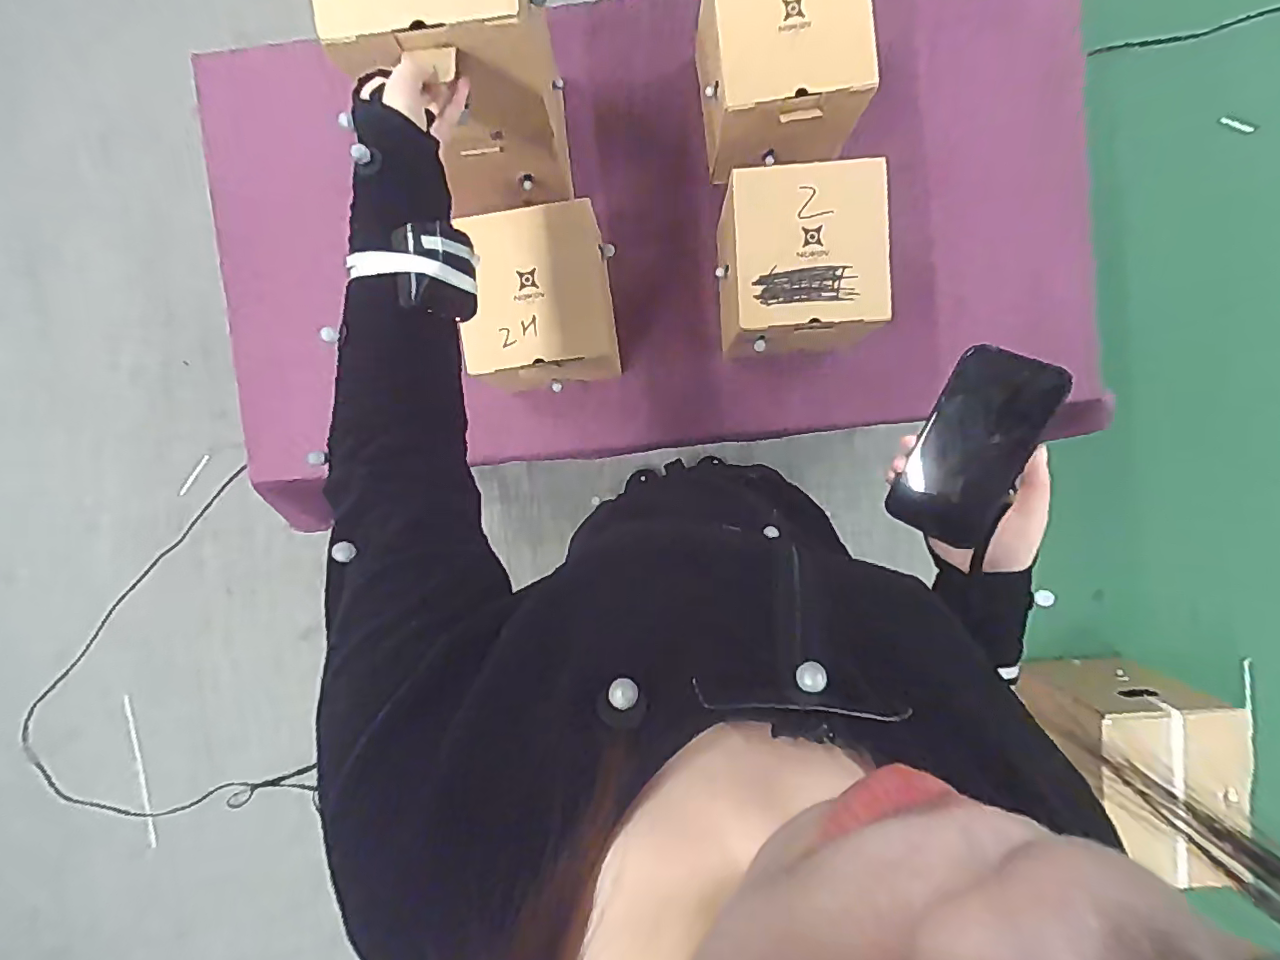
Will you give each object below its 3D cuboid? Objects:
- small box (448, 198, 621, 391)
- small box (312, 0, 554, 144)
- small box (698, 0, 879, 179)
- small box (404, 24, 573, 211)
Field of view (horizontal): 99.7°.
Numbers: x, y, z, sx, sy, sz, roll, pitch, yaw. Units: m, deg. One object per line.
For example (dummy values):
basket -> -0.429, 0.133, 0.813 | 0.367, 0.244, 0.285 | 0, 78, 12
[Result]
small box -> -0.120, -0.218, 0.679 | 0.168, 0.176, 0.179 | -8, 93, 3
small box -> -0.181, -0.443, 0.504 | 0.168, 0.176, 0.179 | -5, 94, 2
small box -> 0.165, -0.500, 0.651 | 0.168, 0.176, 0.179 | -8, 94, 3
small box -> -0.181, -0.454, 0.669 | 0.168, 0.176, 0.179 | -5, 93, 2
